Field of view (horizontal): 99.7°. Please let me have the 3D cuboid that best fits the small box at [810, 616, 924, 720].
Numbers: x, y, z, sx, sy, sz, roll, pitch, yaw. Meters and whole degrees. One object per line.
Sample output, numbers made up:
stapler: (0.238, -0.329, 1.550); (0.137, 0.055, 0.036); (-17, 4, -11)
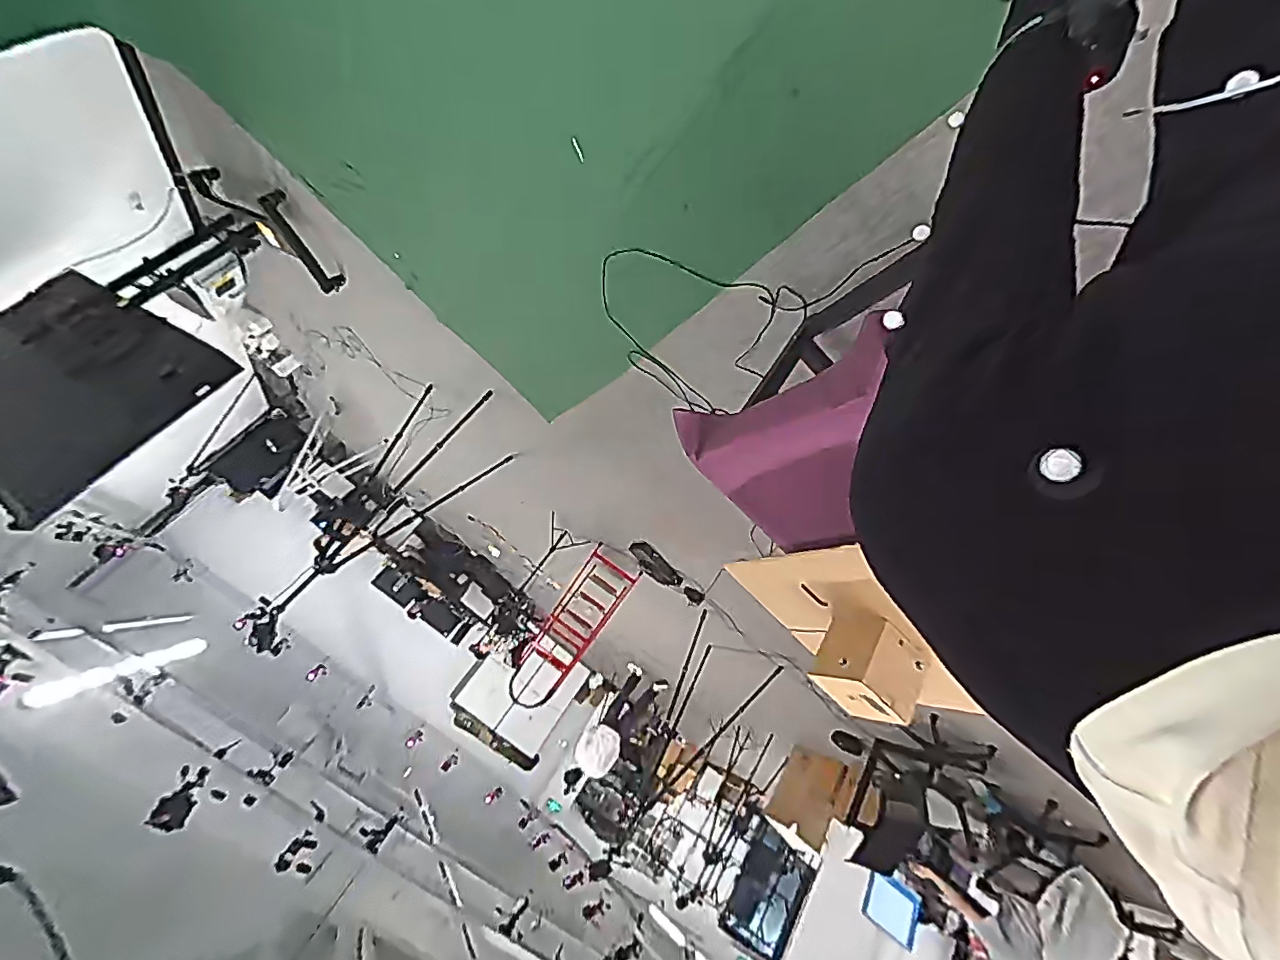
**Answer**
small box: (0.551, 0.443, 1.298); (0.168, 0.176, 0.179); (43, 154, -10)
